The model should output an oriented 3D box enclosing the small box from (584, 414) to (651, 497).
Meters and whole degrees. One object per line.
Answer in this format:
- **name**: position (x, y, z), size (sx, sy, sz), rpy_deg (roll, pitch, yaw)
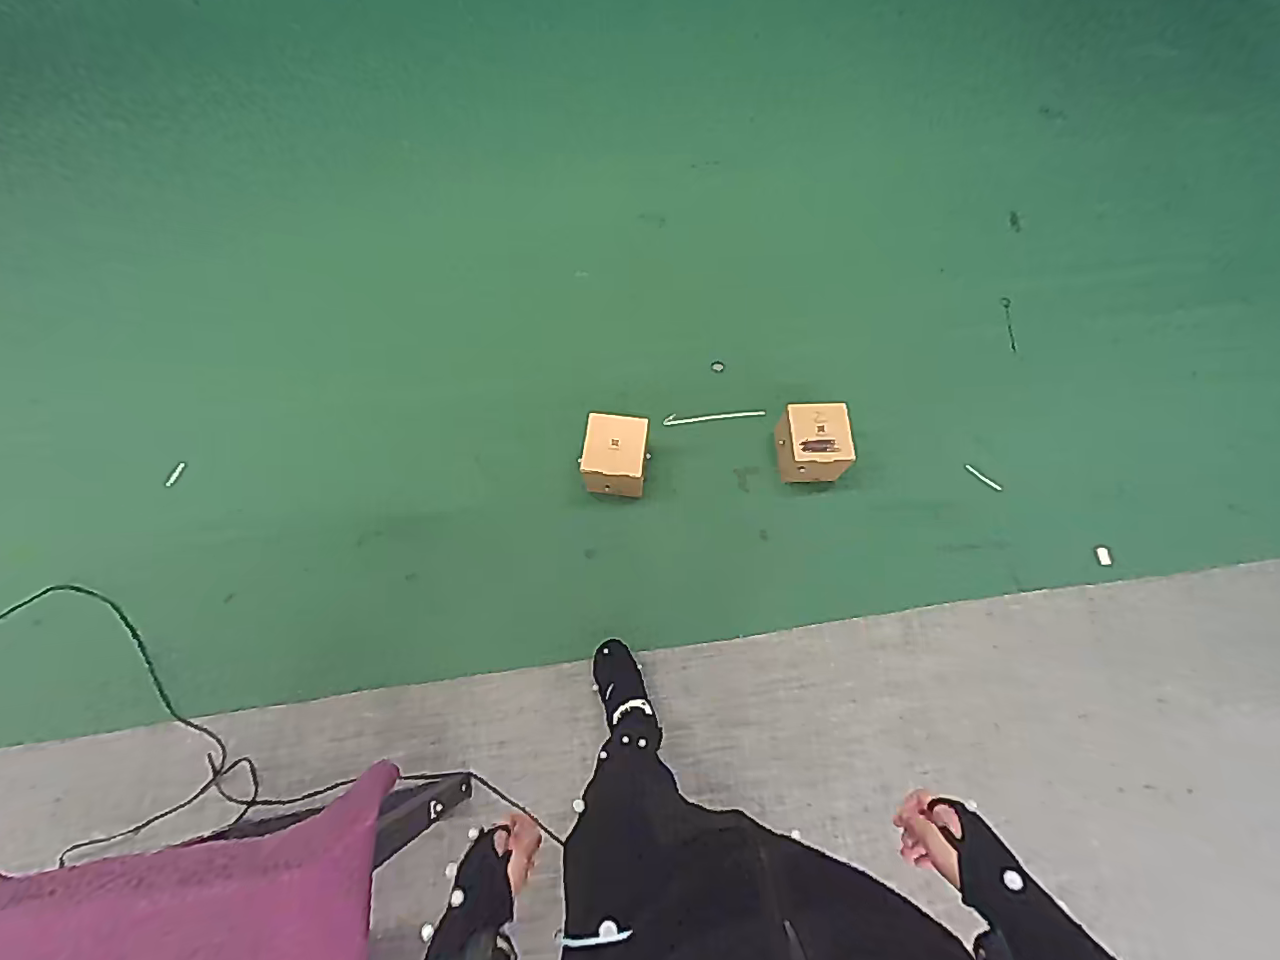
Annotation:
- **small box**: position (-0.062, -0.067, 1.538), size (0.168, 0.176, 0.179), rpy_deg (7, 71, 2)
